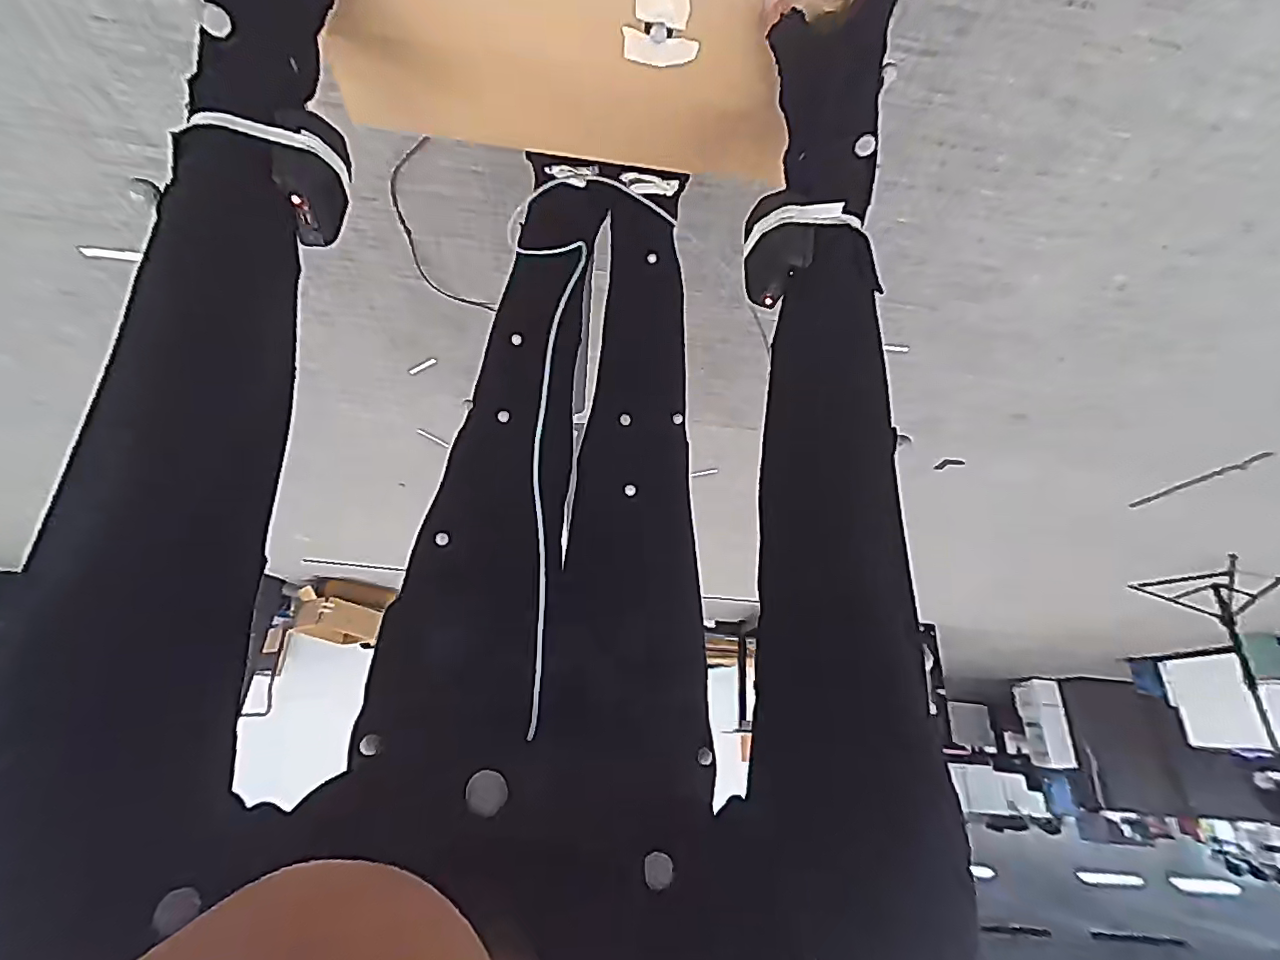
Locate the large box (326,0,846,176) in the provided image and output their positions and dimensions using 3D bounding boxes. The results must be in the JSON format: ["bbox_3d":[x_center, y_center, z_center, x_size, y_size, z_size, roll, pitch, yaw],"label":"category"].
[{"bbox_3d":[-0.034,-0.513,0.451,0.408,0.320,0.320,6,152,-3],"label":"large box"}]
